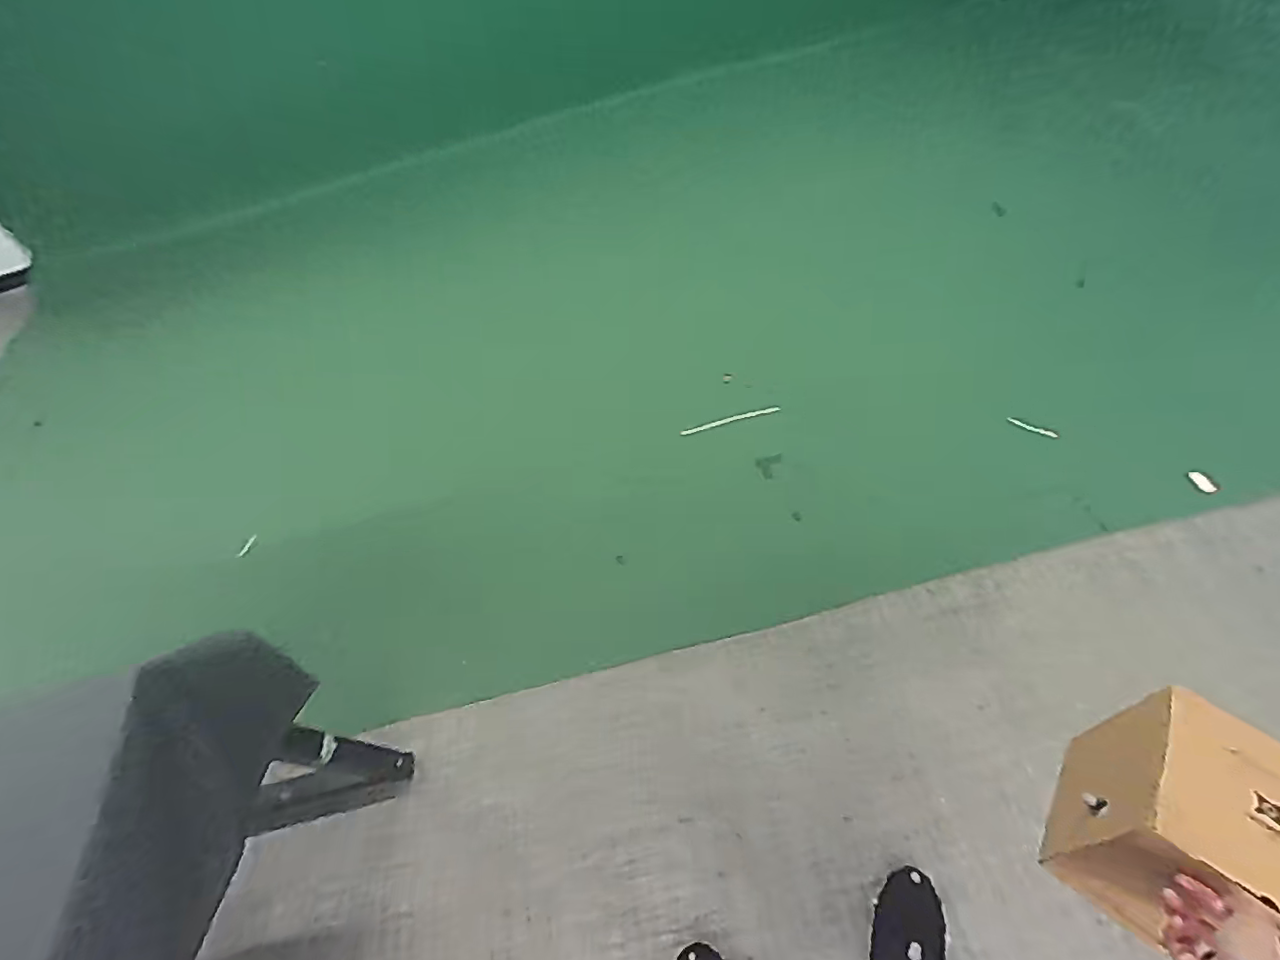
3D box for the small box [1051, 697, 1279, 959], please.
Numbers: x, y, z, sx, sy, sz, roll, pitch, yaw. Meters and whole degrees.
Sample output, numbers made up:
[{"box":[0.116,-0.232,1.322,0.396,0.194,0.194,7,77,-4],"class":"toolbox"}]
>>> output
[{"box":[0.546,0.359,0.525,0.168,0.176,0.179,35,51,24],"class":"small box"}]
